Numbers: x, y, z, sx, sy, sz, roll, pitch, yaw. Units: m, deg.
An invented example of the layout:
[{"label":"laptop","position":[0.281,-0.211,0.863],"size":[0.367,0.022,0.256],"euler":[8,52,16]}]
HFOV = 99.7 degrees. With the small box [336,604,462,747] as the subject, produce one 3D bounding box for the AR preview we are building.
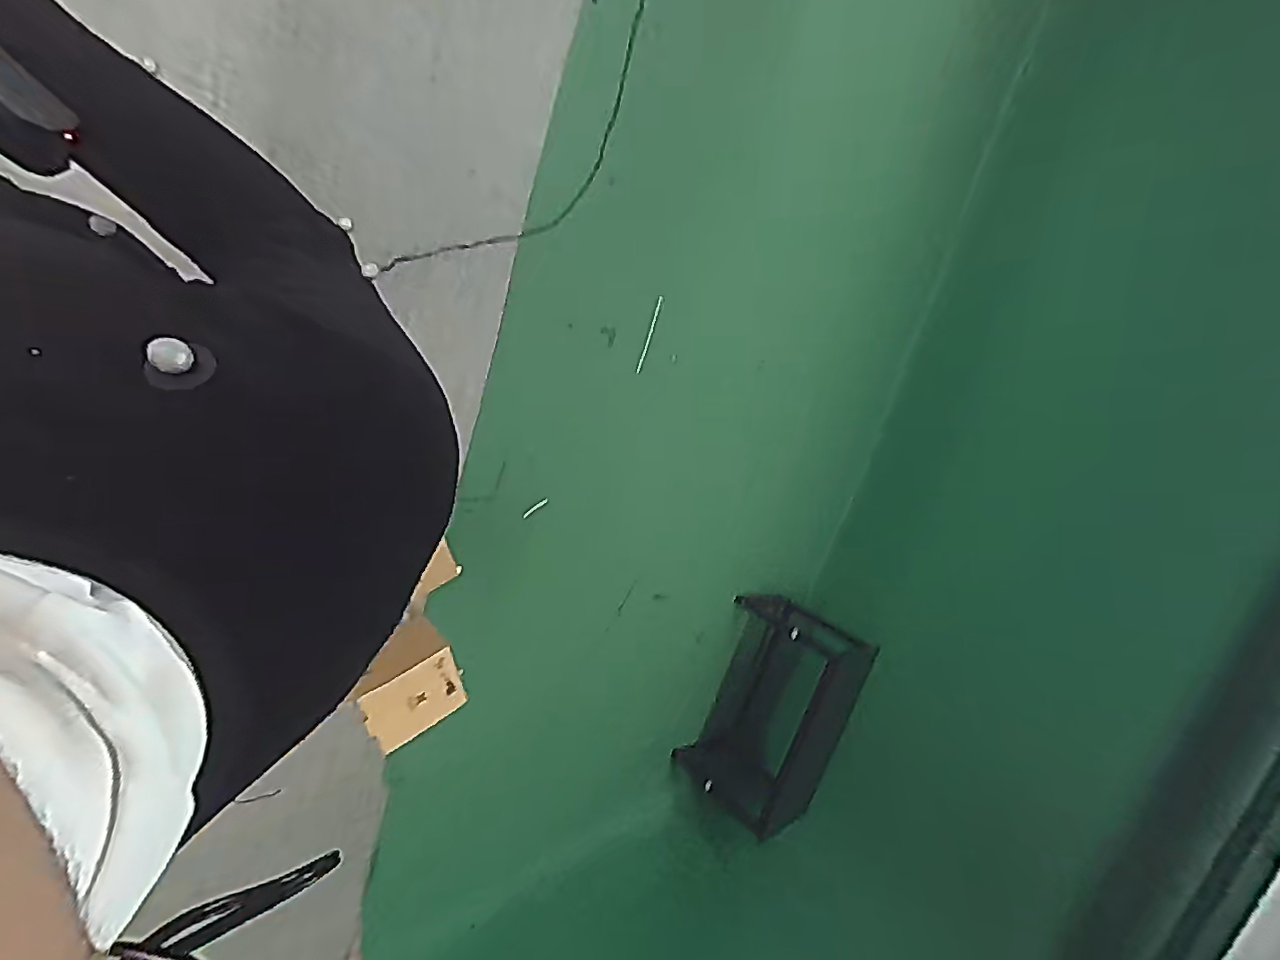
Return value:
[{"label":"small box","position":[-0.495,0.388,1.100],"size":[0.179,0.176,0.168],"euler":[-26,127,-33]}]
